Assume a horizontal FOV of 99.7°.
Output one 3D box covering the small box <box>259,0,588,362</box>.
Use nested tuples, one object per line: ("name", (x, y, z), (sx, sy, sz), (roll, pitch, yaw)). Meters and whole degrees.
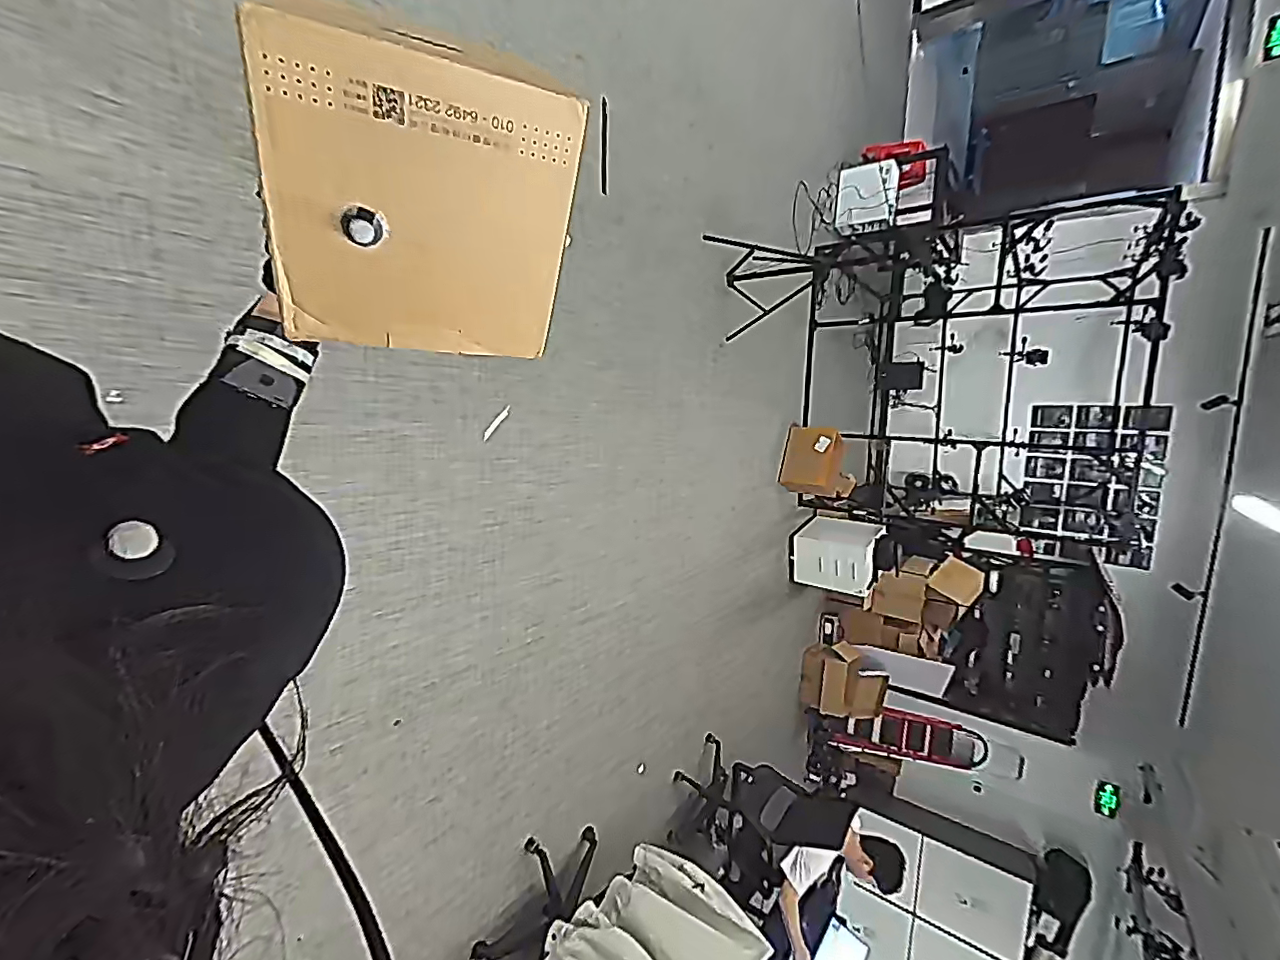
("small box", (-0.144, -0.203, 0.371), (0.168, 0.179, 0.176), (1, 131, -26))
